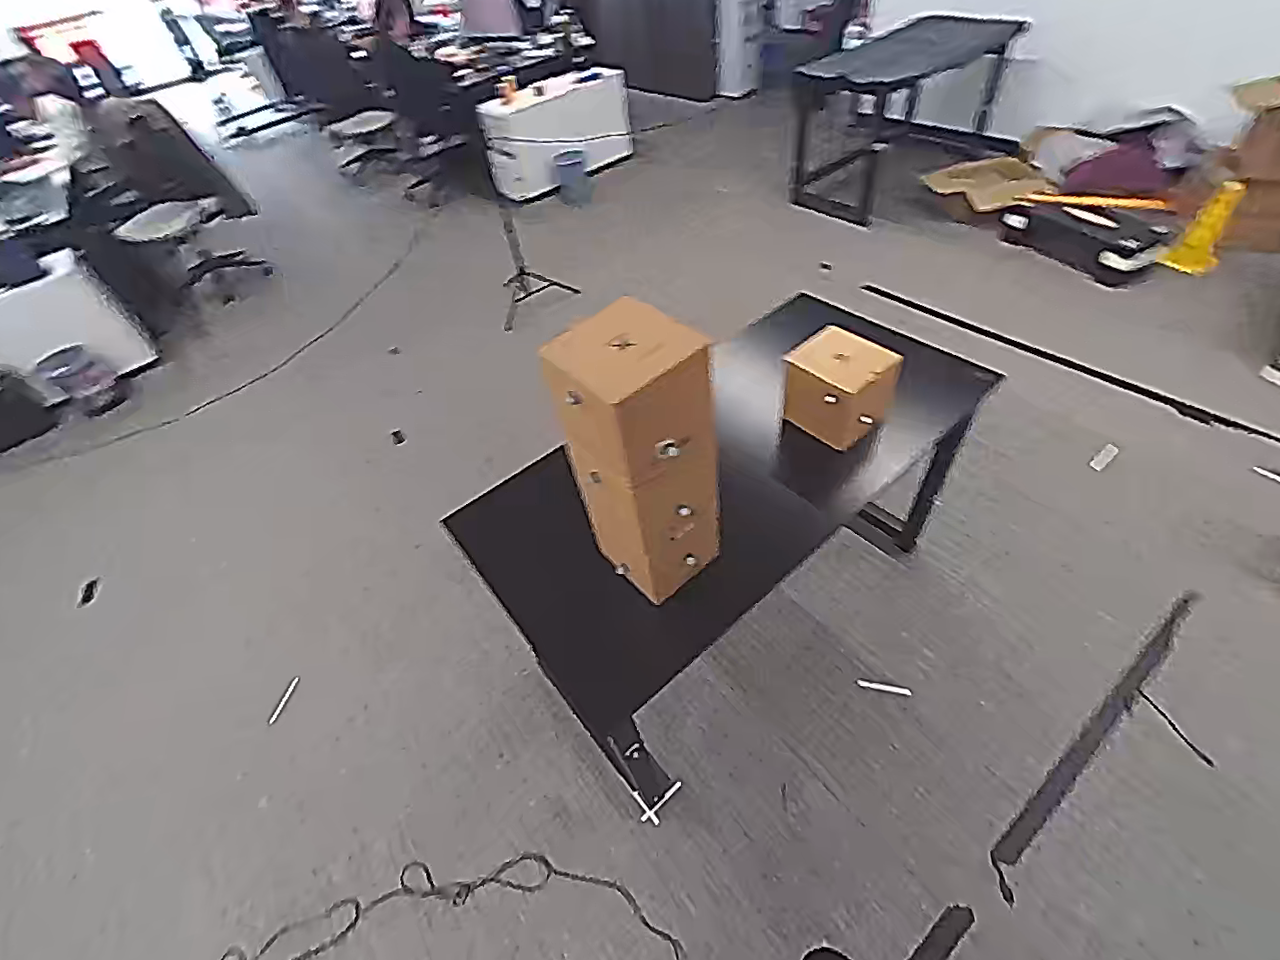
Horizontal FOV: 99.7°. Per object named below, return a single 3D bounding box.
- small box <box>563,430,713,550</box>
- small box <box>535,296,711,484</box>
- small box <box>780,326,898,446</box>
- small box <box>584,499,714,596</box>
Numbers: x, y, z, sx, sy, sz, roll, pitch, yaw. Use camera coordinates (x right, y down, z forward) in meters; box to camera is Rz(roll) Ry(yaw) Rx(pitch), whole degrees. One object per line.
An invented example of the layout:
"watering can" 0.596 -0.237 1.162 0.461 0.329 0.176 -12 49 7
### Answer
"small box" 0.003 -0.019 0.885 0.168 0.176 0.179 -37 53 -20
"small box" -0.017 -0.125 0.763 0.168 0.176 0.179 -38 54 -20
"small box" 0.429 -0.206 1.198 0.168 0.176 0.179 -36 53 -20
"small box" 0.024 0.090 1.007 0.168 0.176 0.179 -37 54 -22
